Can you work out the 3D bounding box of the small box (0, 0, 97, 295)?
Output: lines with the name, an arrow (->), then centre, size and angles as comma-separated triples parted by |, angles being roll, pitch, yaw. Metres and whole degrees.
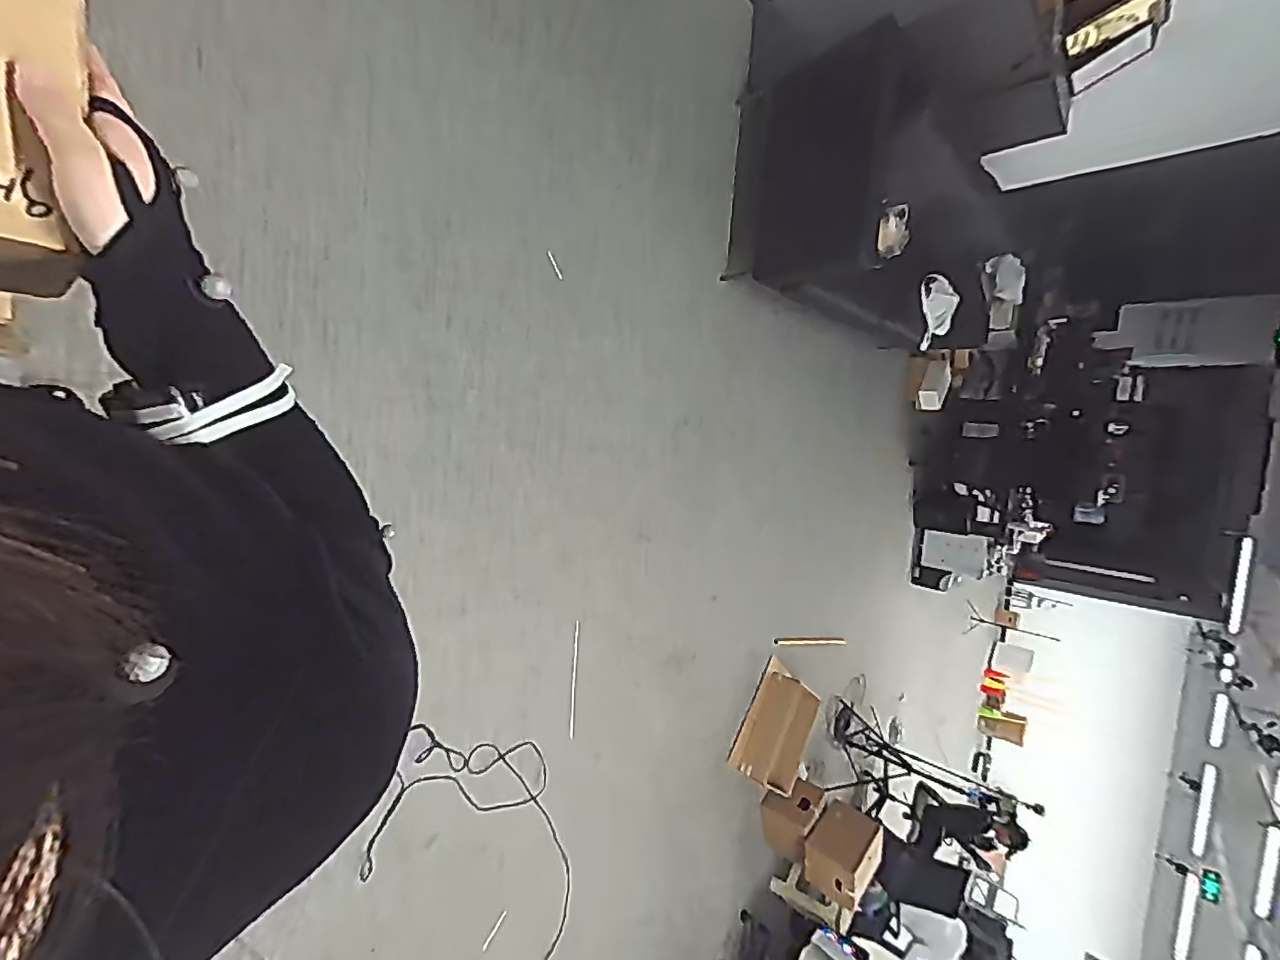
small box -> -0.423, -0.216, 0.292 | 0.168, 0.176, 0.179 | -2, 96, -51
